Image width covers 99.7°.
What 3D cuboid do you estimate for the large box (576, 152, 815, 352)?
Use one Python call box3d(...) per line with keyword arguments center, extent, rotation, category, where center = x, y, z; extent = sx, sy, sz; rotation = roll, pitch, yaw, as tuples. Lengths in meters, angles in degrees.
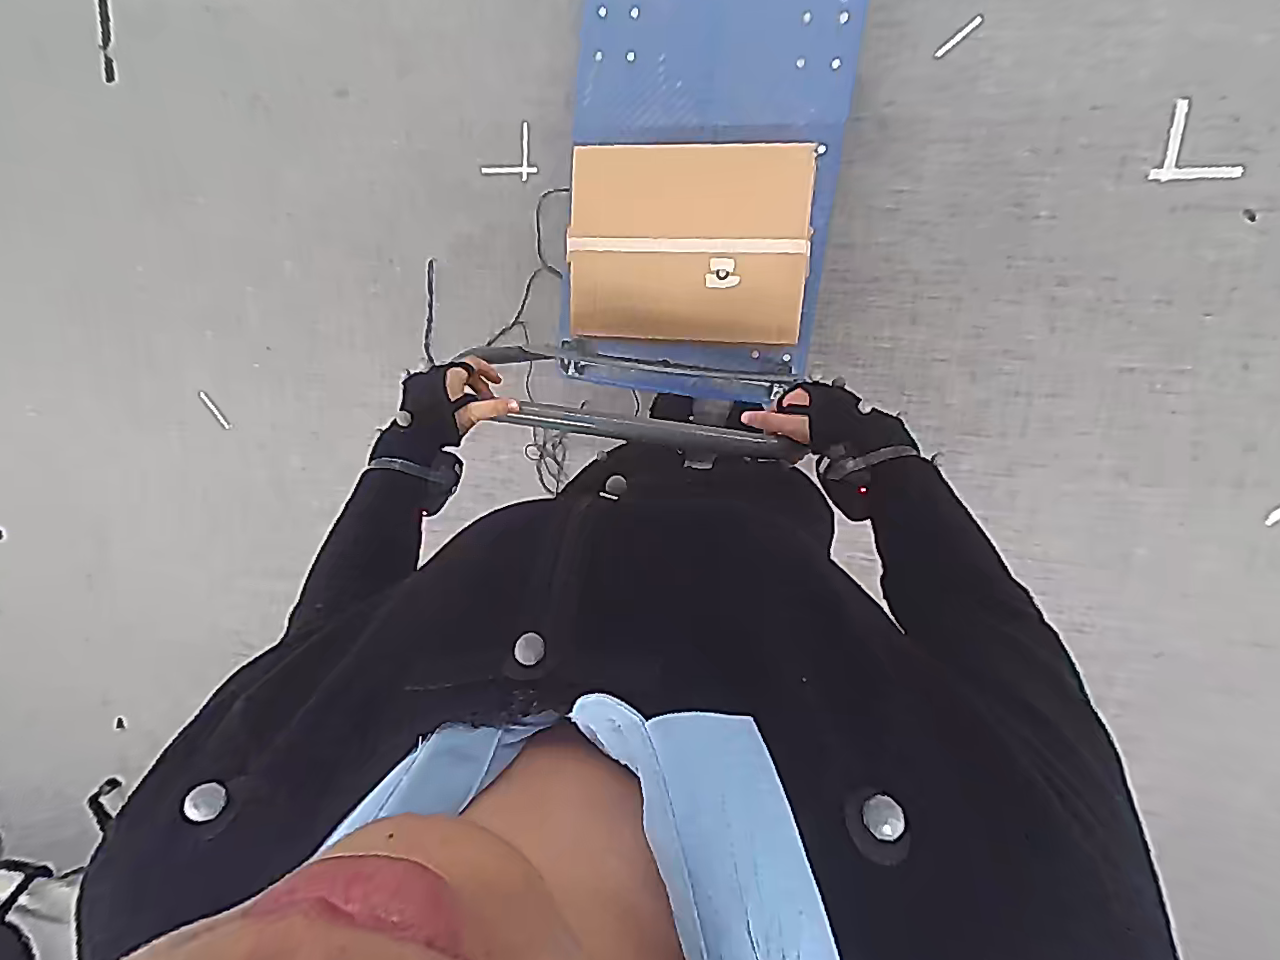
box3d(center=(0.103, -0.421, 1.073), extent=(0.408, 0.320, 0.320), rotation=(4, 103, 8), category="large box")
